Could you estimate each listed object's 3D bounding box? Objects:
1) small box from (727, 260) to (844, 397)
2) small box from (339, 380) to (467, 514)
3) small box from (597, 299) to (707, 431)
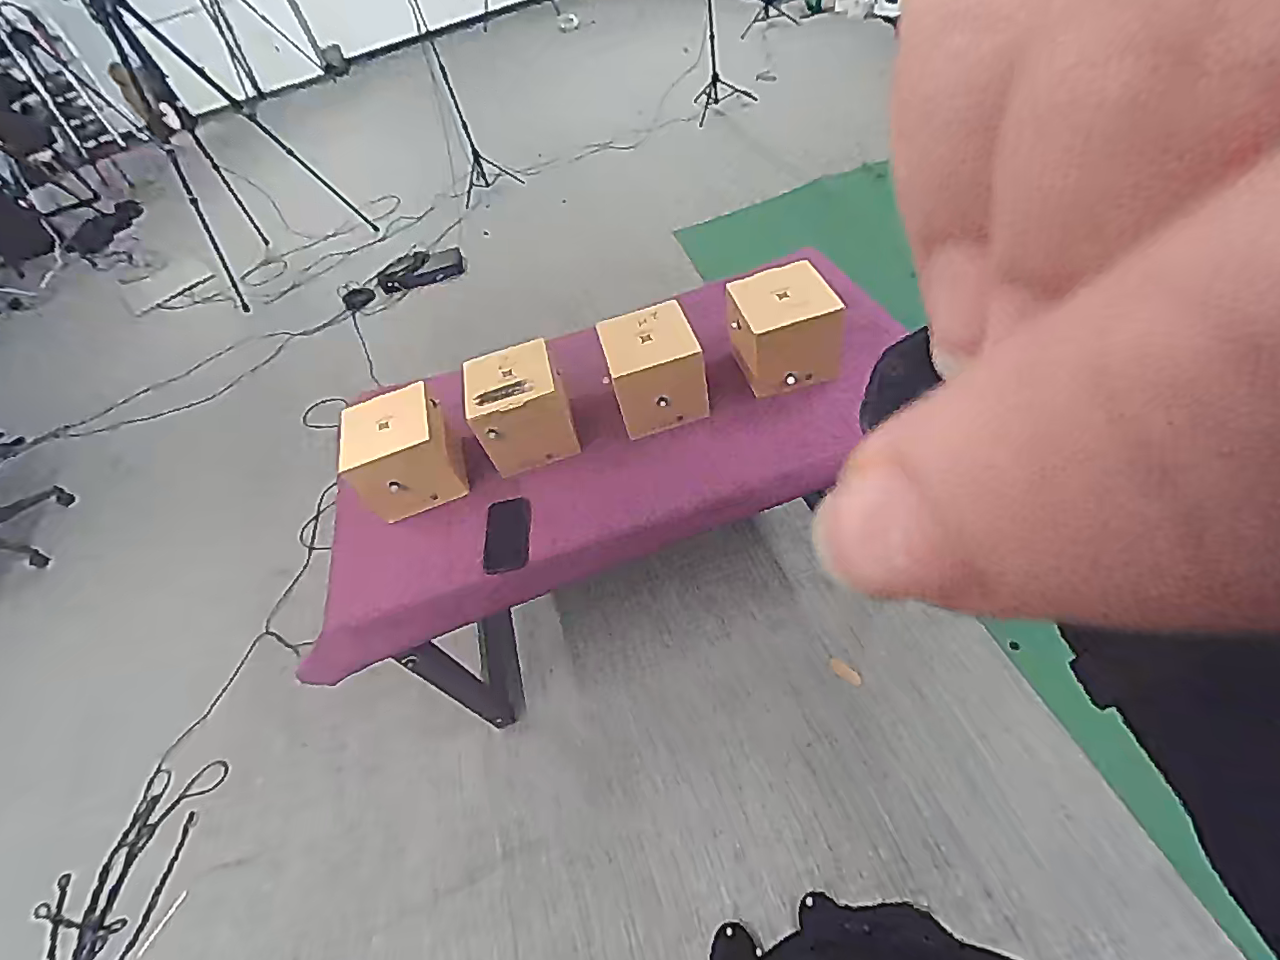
[{"bbox_3d":[0.275,-0.292,1.053,0.168,0.176,0.179,-16,50,2],"label":"small box"},{"bbox_3d":[-0.448,-0.055,1.040,0.168,0.176,0.179,-21,50,-4],"label":"small box"},{"bbox_3d":[0.026,-0.215,1.052,0.168,0.176,0.179,-16,50,0],"label":"small box"}]
